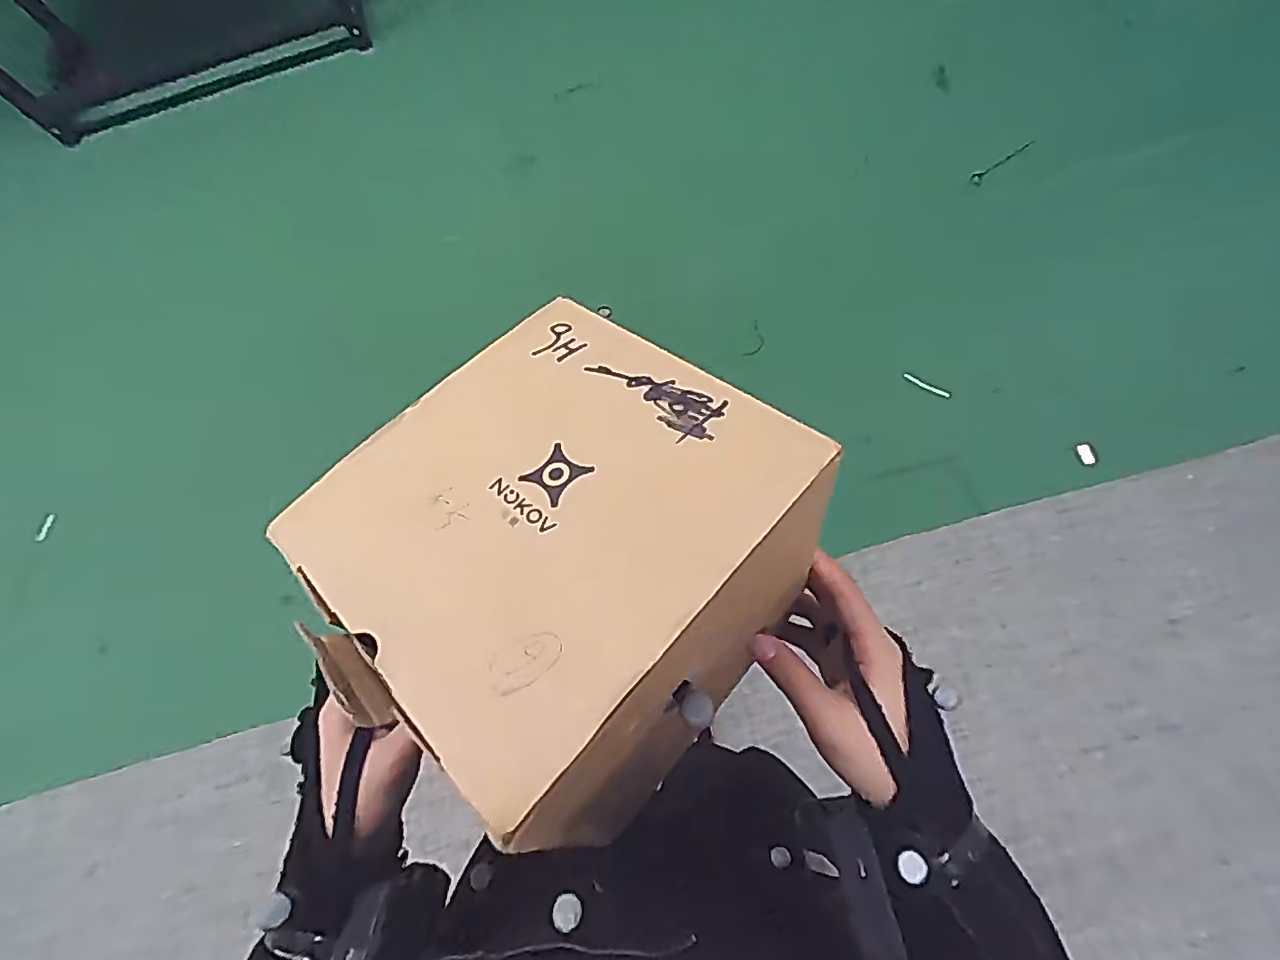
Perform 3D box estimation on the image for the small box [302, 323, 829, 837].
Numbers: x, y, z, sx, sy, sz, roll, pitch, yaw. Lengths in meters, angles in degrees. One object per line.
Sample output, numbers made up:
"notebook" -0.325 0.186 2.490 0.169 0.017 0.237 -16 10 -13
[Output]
"small box" -0.024 0.057 0.294 0.168 0.176 0.179 35 69 27
